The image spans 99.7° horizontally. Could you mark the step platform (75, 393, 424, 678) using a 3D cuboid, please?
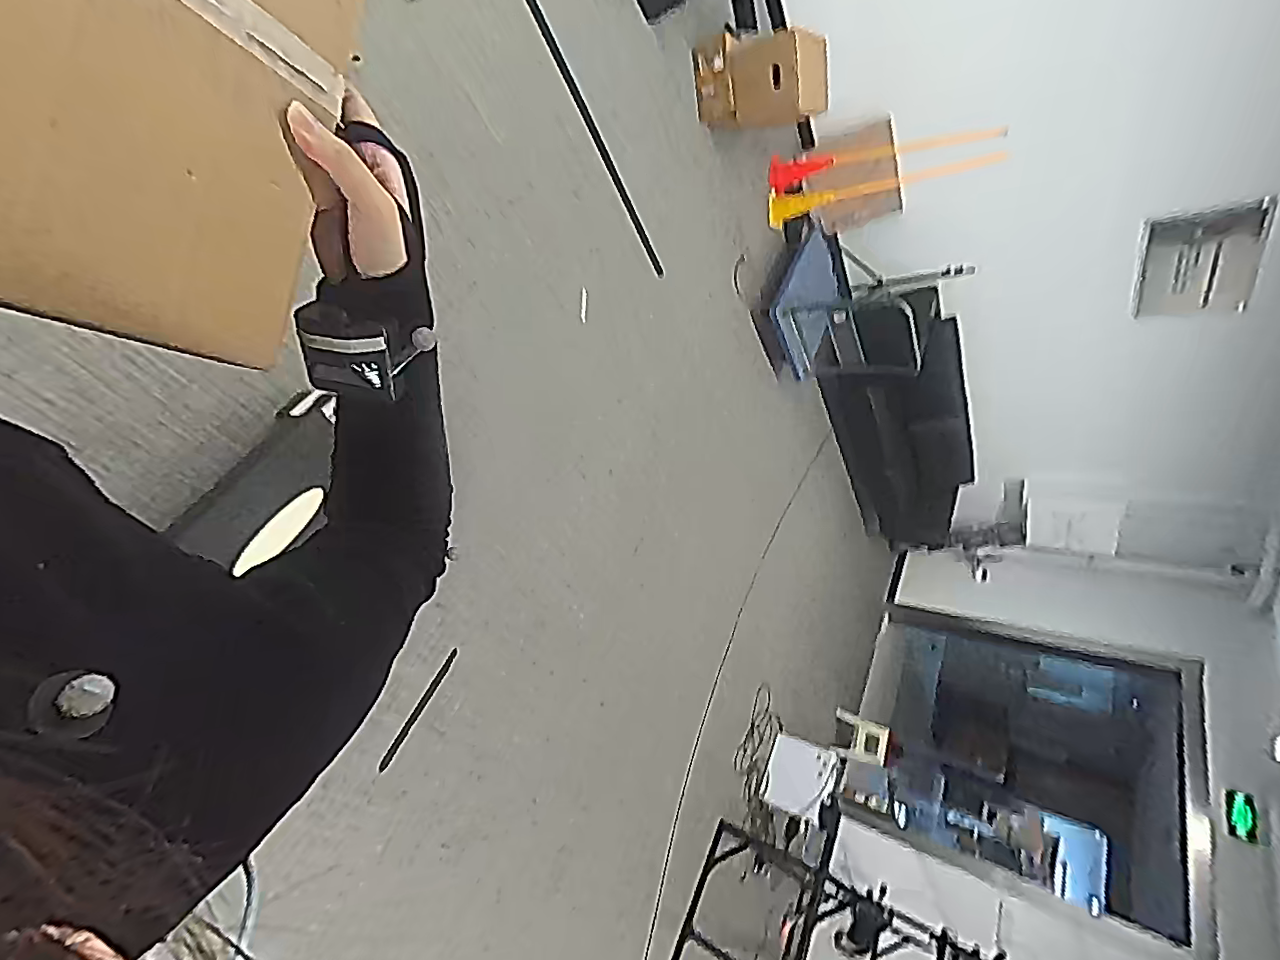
[{"bbox_3d":[-0.840,0.096,1.254,0.684,0.204,0.286,-55,132,-33],"label":"step platform"}]

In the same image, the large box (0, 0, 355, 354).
[{"bbox_3d":[-0.387,-0.264,0.199,0.408,0.320,0.320,11,93,-59],"label":"large box"}]
